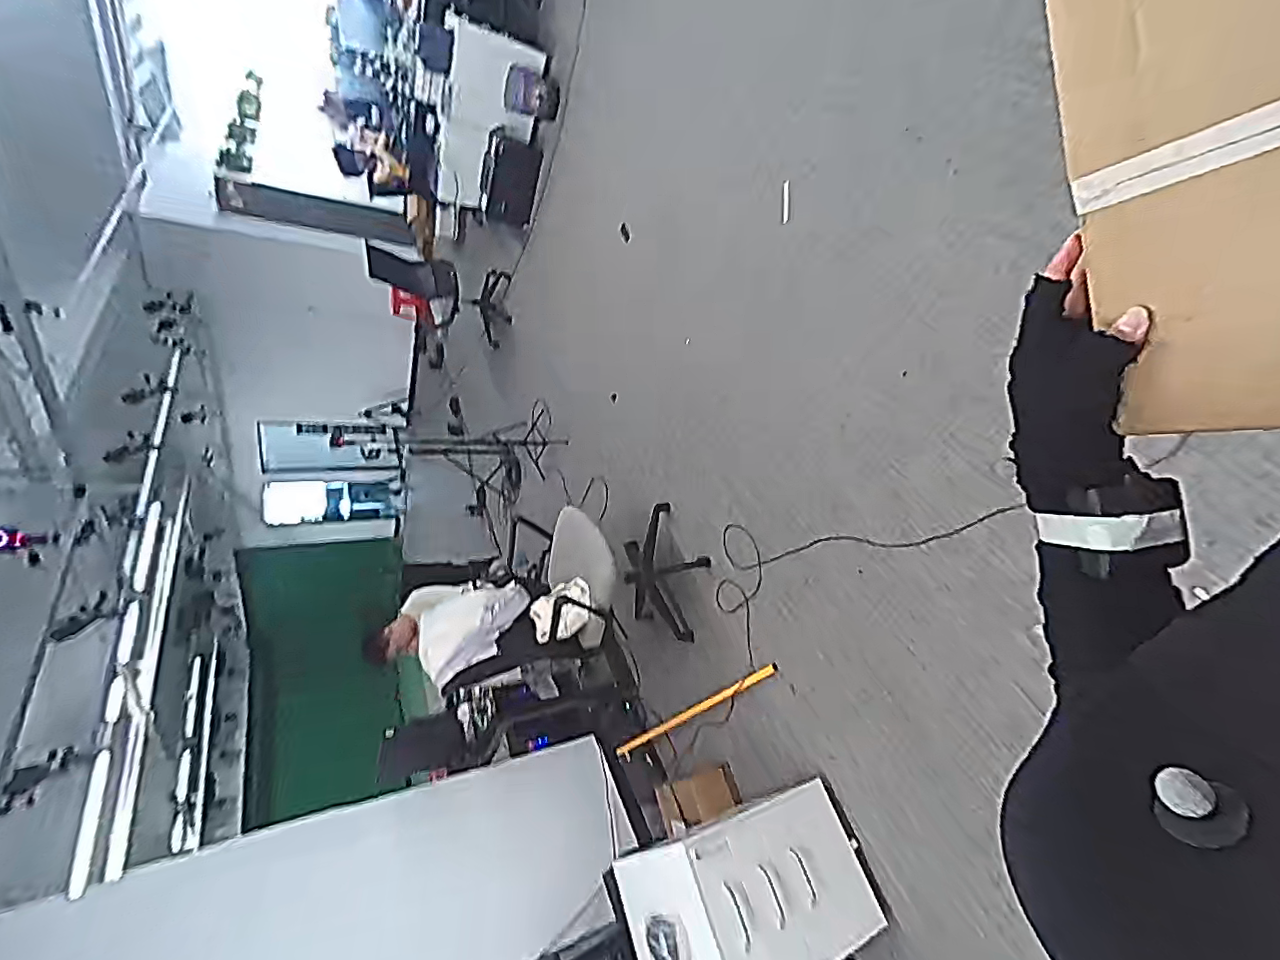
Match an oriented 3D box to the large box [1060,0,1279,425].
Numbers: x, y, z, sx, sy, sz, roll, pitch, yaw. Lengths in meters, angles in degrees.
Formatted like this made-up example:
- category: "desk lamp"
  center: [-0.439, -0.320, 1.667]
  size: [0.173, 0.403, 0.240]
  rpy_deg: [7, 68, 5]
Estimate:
- category: "large box"
  center: [0.504, -0.231, 0.247]
  size: [0.408, 0.320, 0.320]
  rpy_deg: [2, 114, 58]
